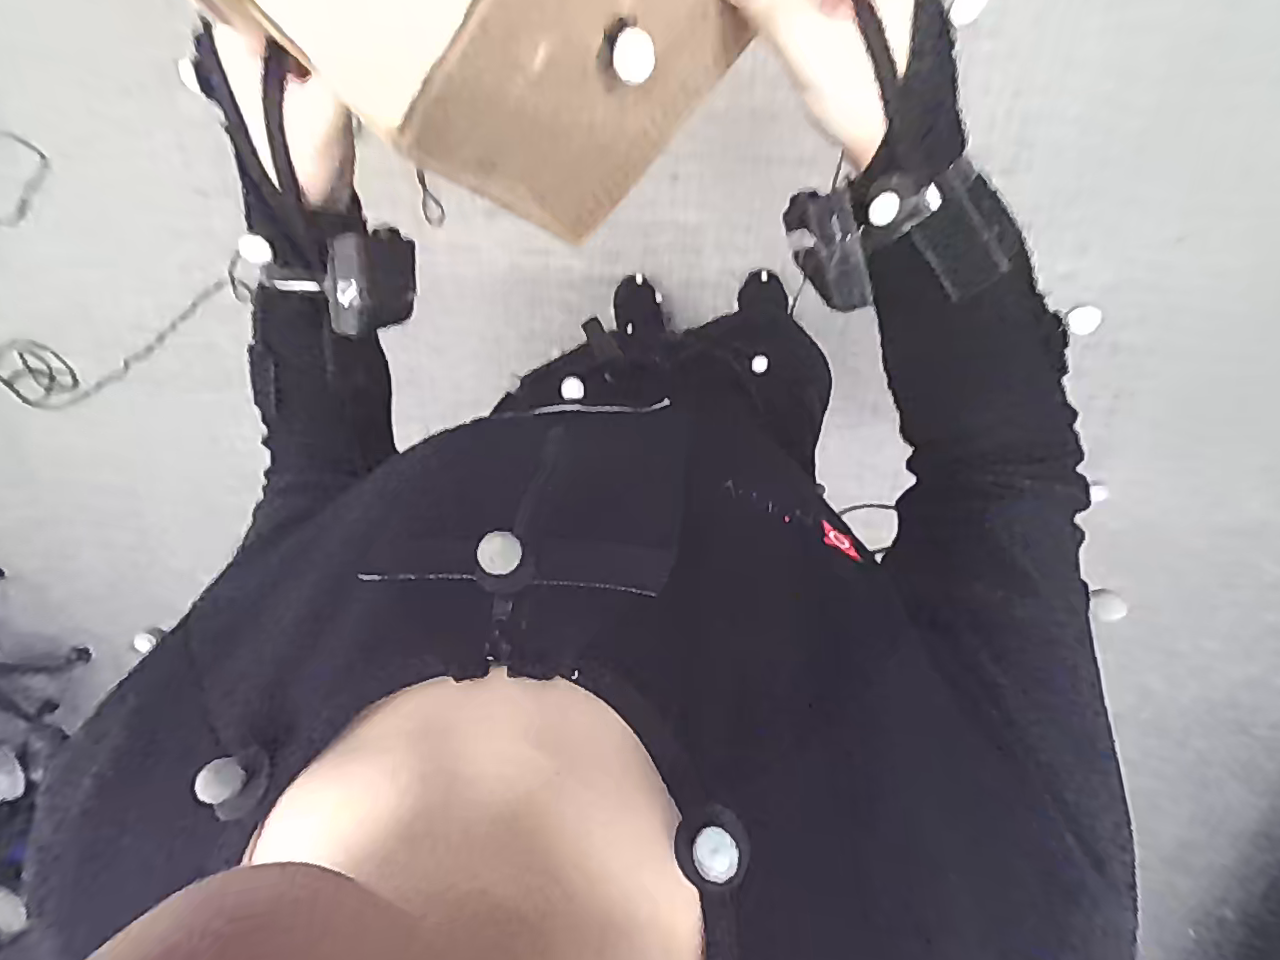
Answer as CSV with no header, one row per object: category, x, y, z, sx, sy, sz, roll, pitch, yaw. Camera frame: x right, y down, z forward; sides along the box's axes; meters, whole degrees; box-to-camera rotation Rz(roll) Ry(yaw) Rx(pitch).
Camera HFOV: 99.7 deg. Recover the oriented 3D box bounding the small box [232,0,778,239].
small box,-0.052,-0.227,0.212,0.168,0.176,0.179,46,109,-1
